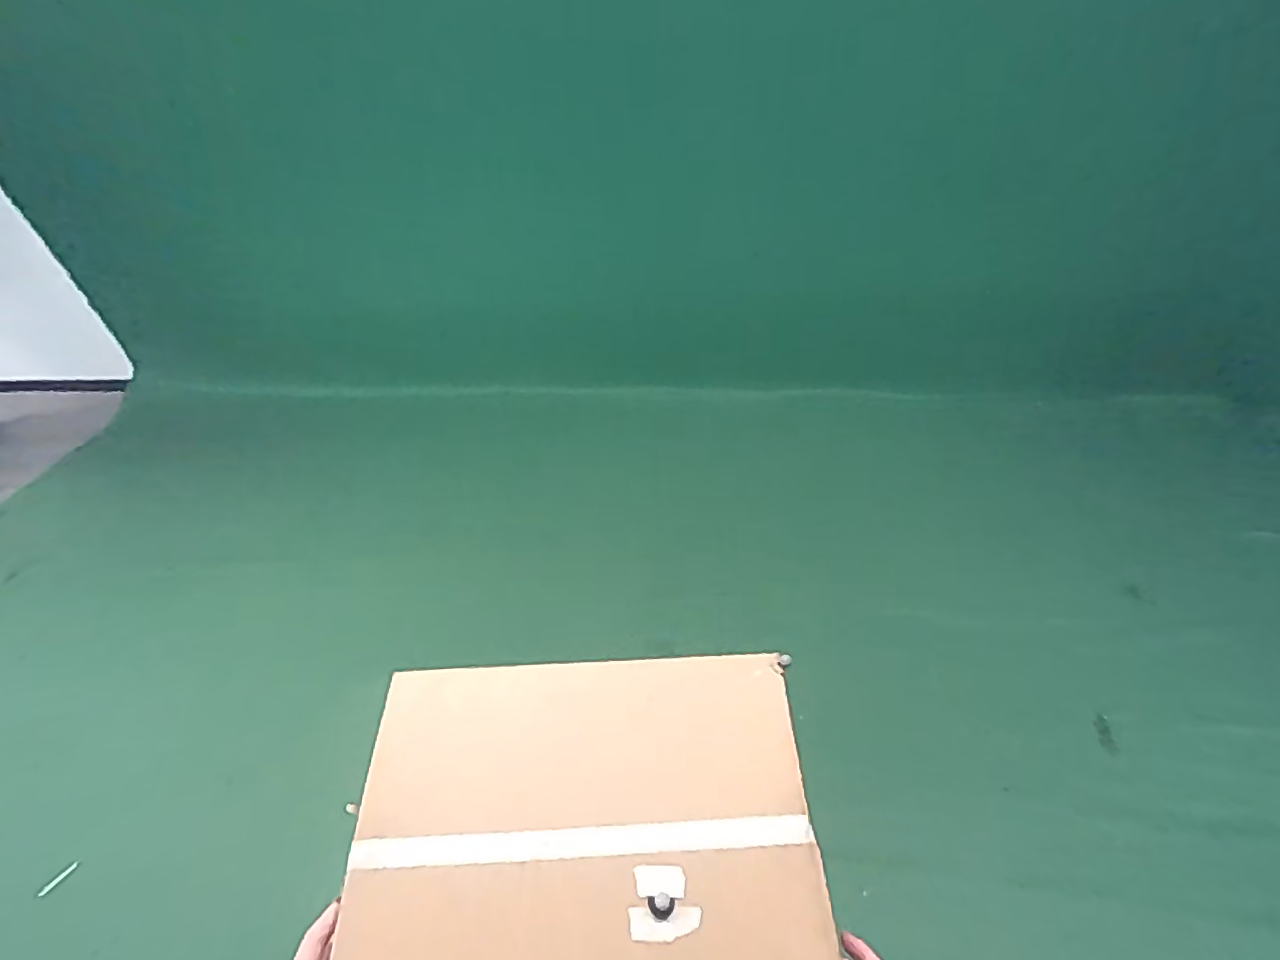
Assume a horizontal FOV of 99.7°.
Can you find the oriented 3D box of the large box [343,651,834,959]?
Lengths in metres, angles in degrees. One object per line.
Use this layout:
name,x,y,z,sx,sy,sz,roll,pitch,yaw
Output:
large box,-0.046,0.406,0.607,0.408,0.320,0.320,-2,54,-1
